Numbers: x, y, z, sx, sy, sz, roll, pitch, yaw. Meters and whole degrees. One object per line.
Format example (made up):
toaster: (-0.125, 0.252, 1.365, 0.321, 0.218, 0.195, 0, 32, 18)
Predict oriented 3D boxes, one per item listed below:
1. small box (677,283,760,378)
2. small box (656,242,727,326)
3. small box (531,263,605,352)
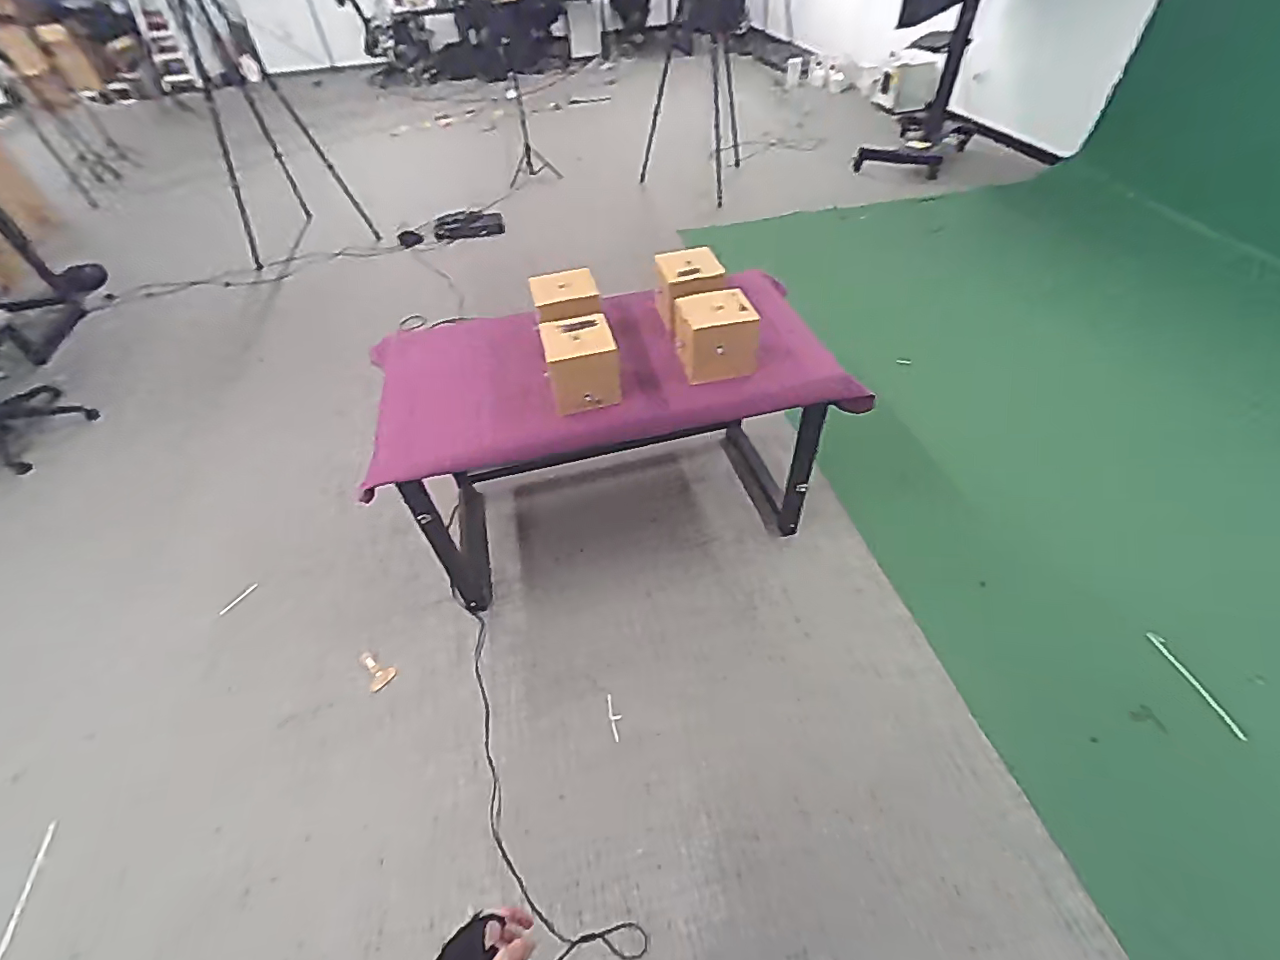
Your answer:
small box: (0.202, -0.386, 1.413, 0.179, 0.176, 0.168, -11, 48, -4)
small box: (0.148, -0.566, 1.580, 0.168, 0.176, 0.179, -12, 48, -6)
small box: (-0.201, -0.489, 1.540, 0.179, 0.176, 0.168, -14, 48, -7)
